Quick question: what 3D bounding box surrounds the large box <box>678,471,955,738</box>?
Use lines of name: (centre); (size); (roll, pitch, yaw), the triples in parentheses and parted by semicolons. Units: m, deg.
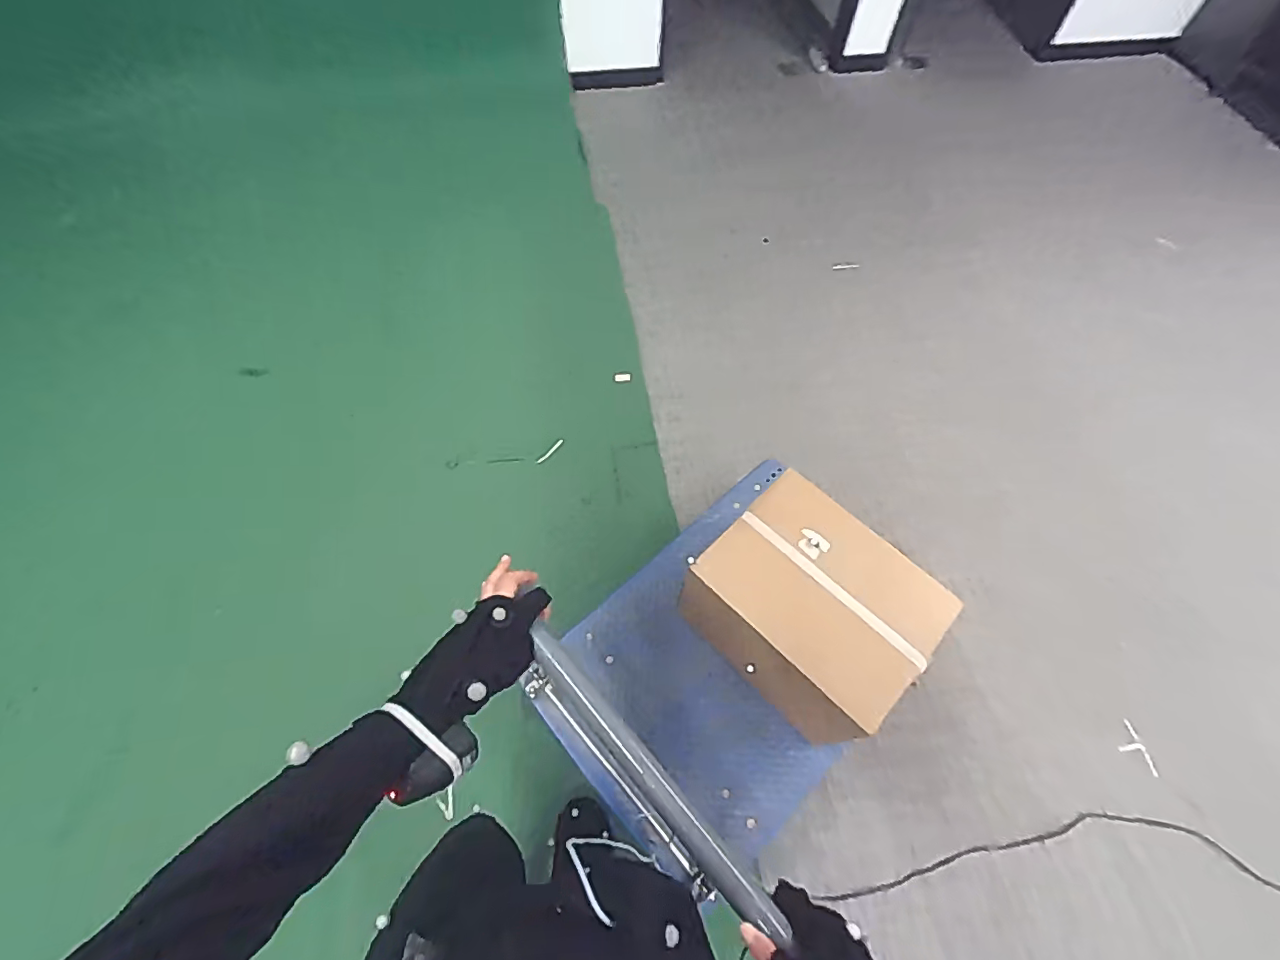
large box: (0.334, 0.266, 1.132); (0.320, 0.320, 0.408); (-40, 69, -22)
